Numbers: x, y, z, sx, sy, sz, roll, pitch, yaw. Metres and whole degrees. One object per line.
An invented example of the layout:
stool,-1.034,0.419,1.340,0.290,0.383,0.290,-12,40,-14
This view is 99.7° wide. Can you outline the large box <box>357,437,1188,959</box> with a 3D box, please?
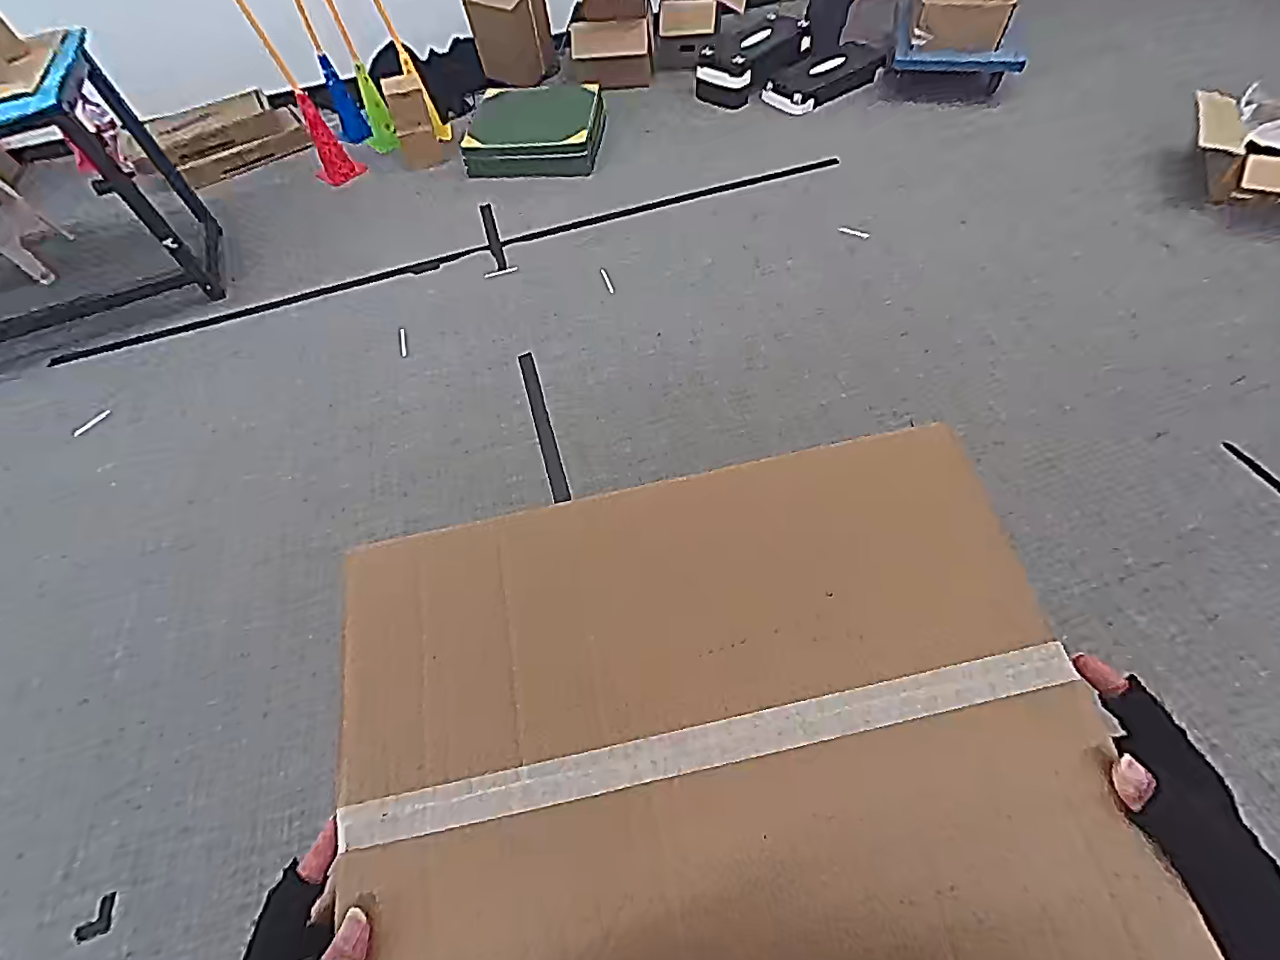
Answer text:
large box,0.049,0.207,0.442,0.408,0.320,0.320,-13,65,-1
